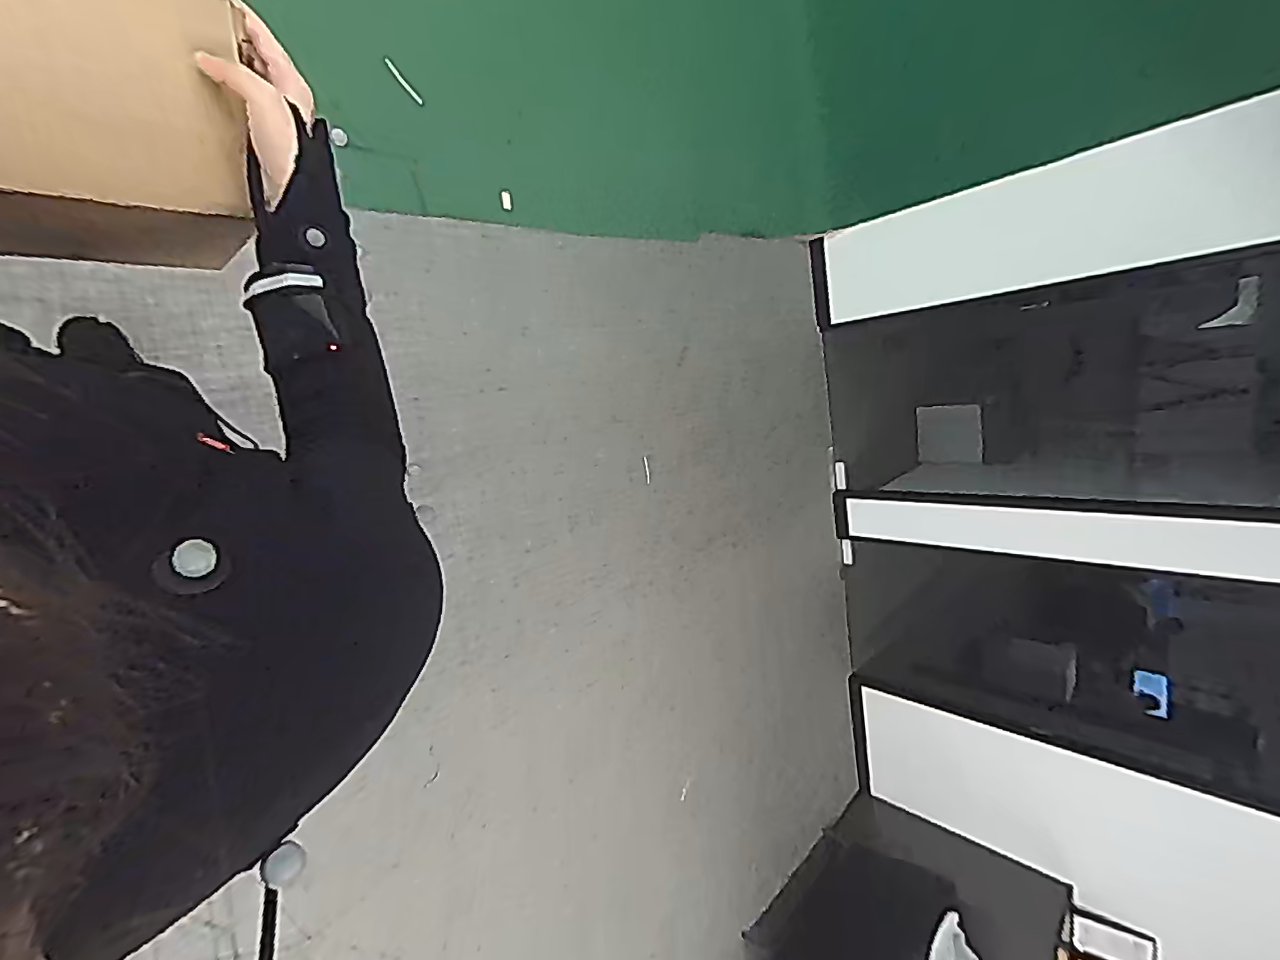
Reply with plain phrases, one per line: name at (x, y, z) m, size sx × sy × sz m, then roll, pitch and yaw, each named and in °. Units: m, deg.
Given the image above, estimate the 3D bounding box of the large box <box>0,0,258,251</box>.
large box at (-0.556, -0.354, 0.381) m, size 0.408 × 0.320 × 0.320 m, roll -13°, pitch 108°, yaw -39°
